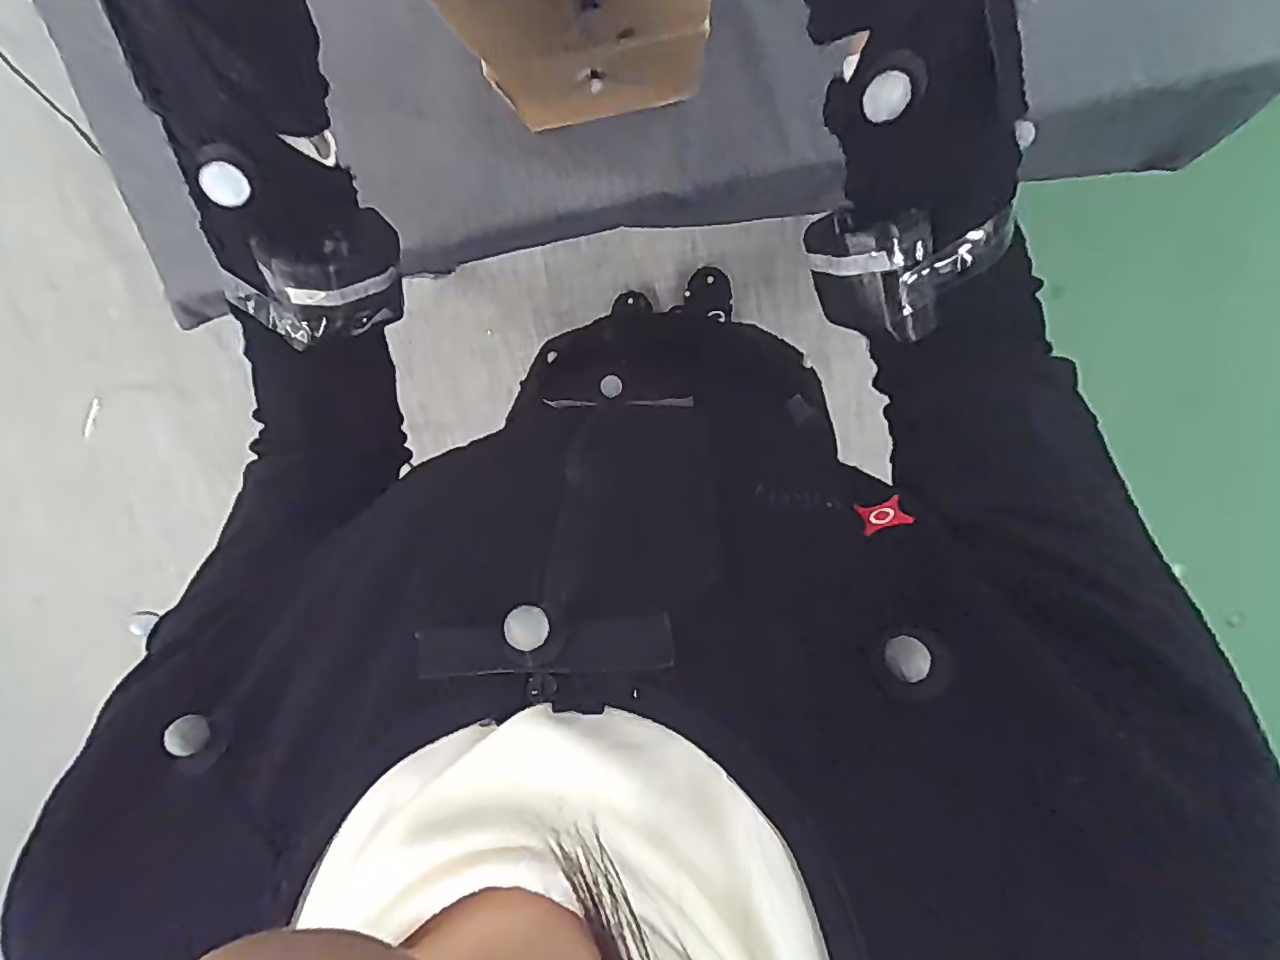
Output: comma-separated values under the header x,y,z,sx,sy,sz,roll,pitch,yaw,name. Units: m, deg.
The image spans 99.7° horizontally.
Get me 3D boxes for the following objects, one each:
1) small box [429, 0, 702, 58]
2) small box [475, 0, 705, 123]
x,y,z,sx,sy,sz,roll,pitch,yaw,name
-0.051,-0.372,0.301,0.168,0.176,0.179,-10,111,6,small box
-0.045,-0.426,0.455,0.179,0.176,0.168,-8,111,4,small box
